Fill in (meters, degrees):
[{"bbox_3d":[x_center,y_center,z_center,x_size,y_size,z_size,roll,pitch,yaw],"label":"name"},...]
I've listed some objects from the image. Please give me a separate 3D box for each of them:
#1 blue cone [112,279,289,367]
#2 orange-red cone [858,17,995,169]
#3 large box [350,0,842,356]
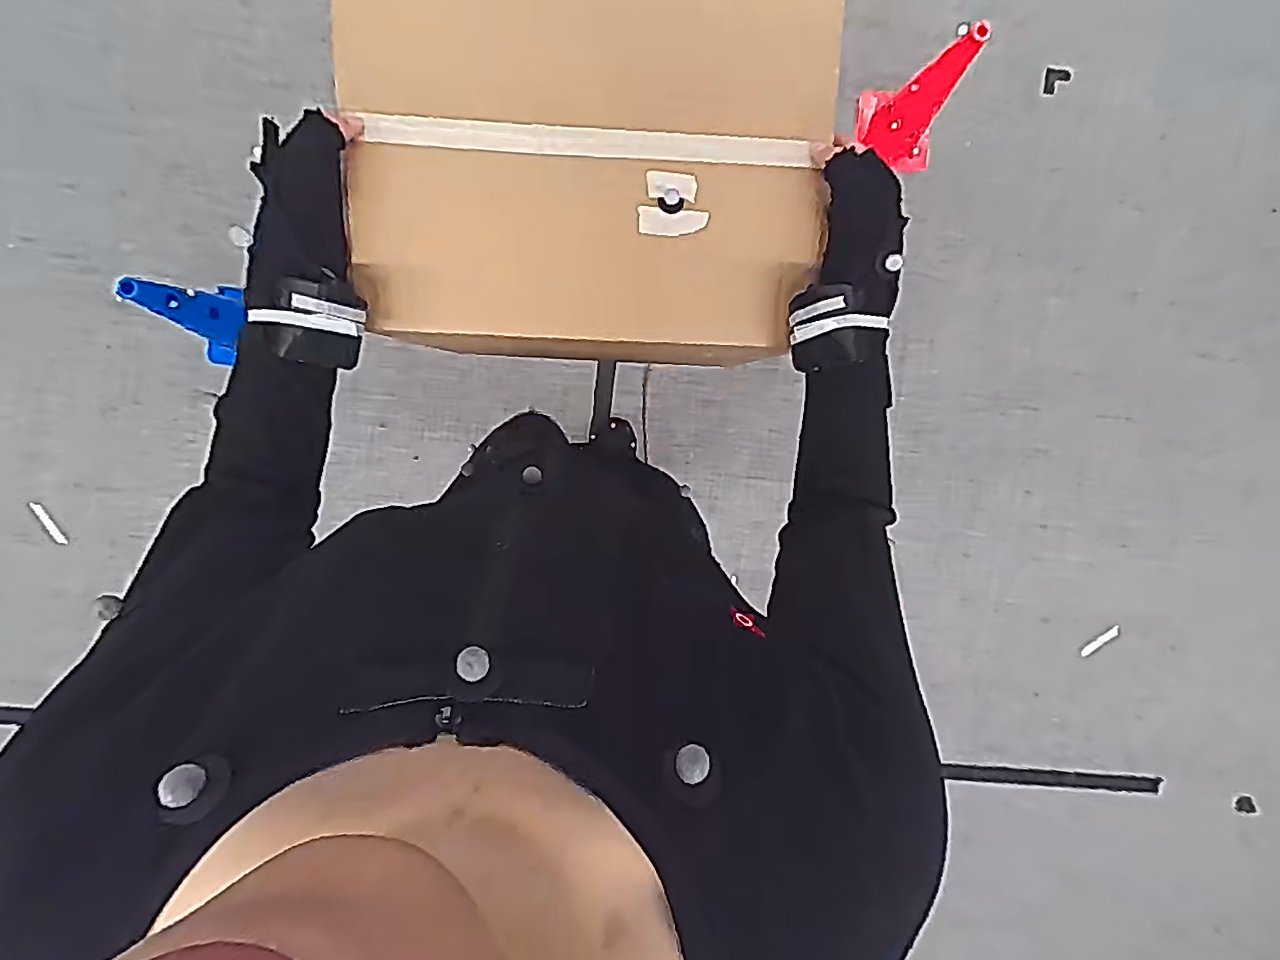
[{"bbox_3d":[-1.009,-0.385,1.242,0.192,0.380,0.193,9,93,-2],"label":"blue cone"},{"bbox_3d":[0.693,-0.934,1.275,0.198,0.360,0.199,3,92,-4],"label":"orange-red cone"},{"bbox_3d":[-0.045,-0.309,0.598,0.408,0.320,0.320,1,100,-4],"label":"large box"}]
